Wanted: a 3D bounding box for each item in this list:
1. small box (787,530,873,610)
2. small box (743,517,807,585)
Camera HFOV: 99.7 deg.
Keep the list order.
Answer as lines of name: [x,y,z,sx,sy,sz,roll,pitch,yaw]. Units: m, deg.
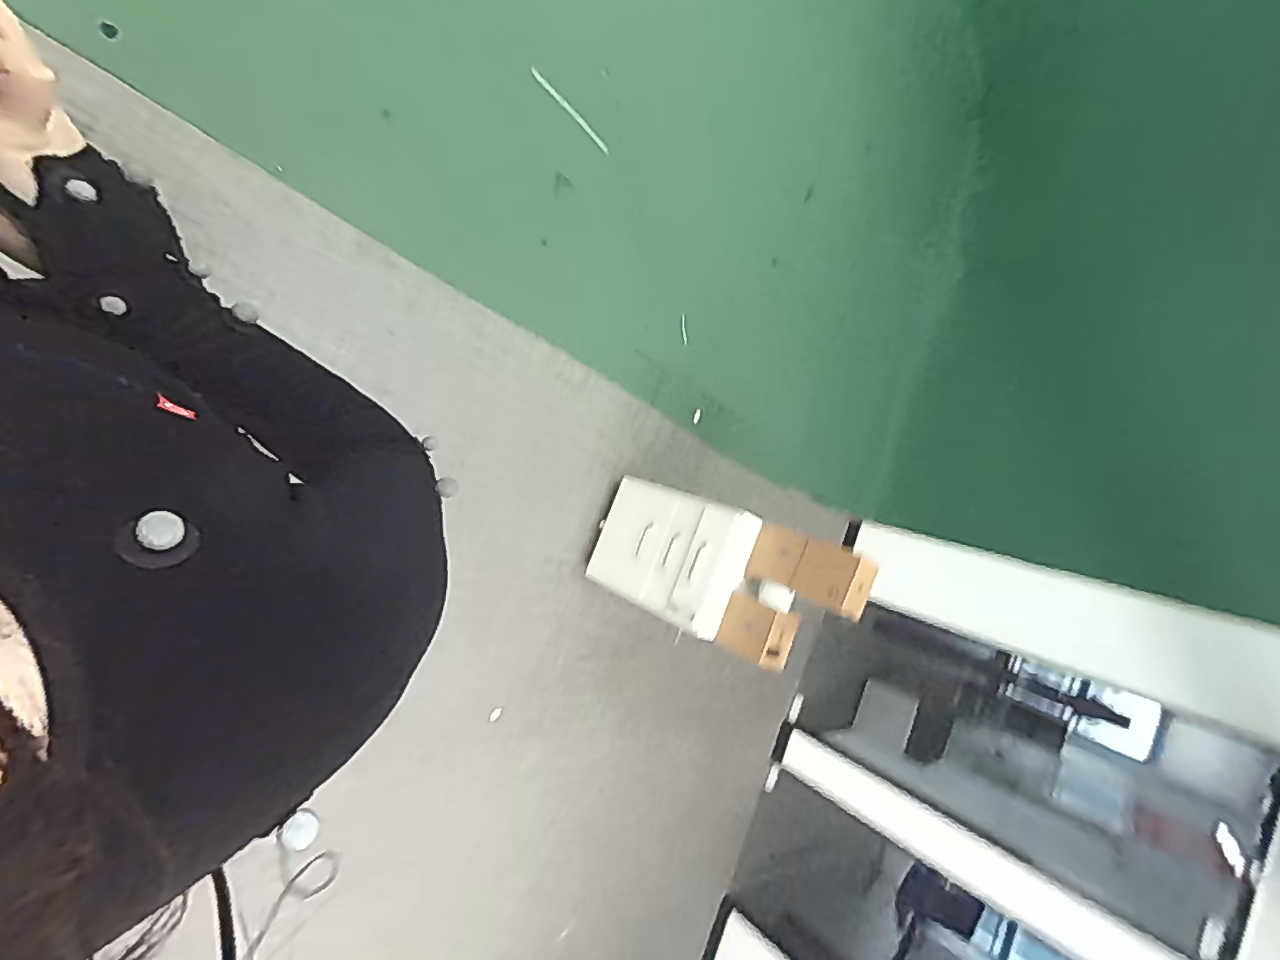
small box: [0.567,0.266,1.621,0.168,0.176,0.179,27,84,-46]
small box: [0.456,0.231,1.736,0.168,0.176,0.179,24,85,-46]
